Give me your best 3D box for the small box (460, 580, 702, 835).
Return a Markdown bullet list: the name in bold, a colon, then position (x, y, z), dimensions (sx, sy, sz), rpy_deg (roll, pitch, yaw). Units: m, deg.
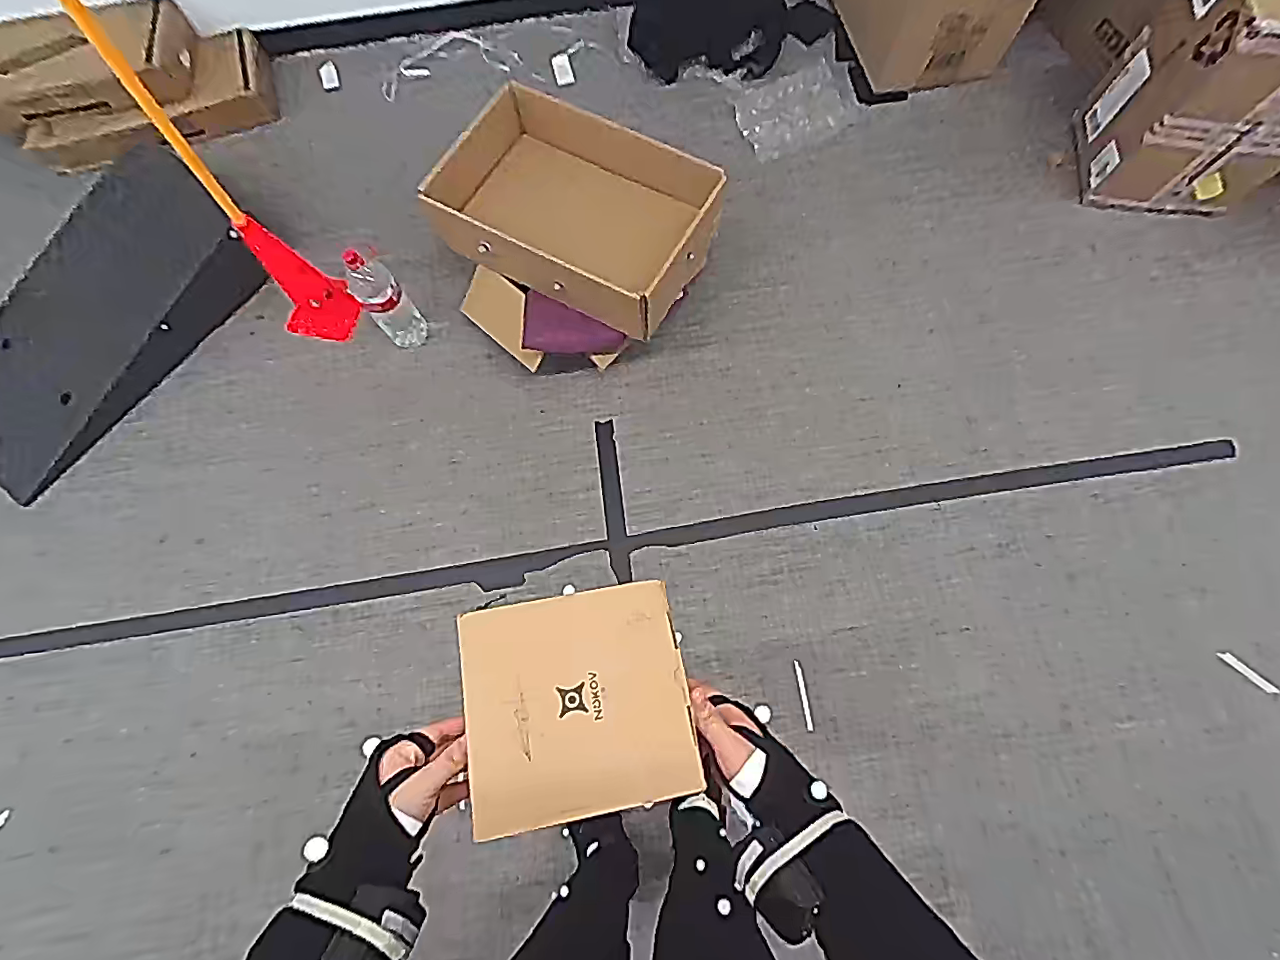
- **small box**: position (-0.054, 0.204, 0.508), dimensions (0.179, 0.176, 0.168), rpy_deg (-11, 67, -6)
